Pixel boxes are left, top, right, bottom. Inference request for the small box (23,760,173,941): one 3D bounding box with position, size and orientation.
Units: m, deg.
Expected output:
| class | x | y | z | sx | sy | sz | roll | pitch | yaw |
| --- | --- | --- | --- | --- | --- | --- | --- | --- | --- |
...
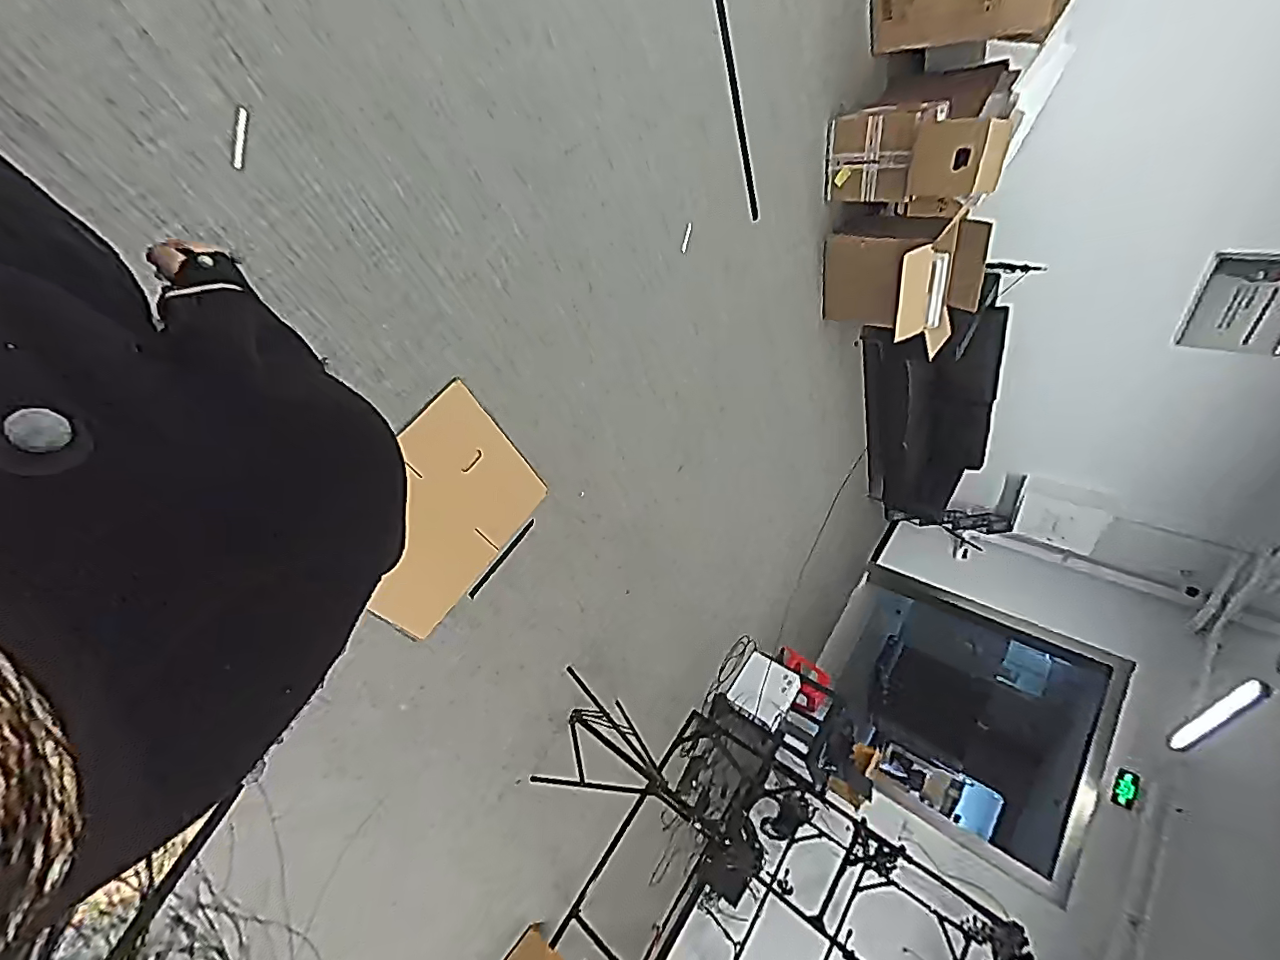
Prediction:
| class | x | y | z | sx | sy | sz | roll | pitch | yaw |
| --- | --- | --- | --- | --- | --- | --- | --- | --- | --- |
| small box | -0.981 | 0.651 | 0.979 | 0.179 | 0.176 | 0.168 | -2 | 107 | -50 |
